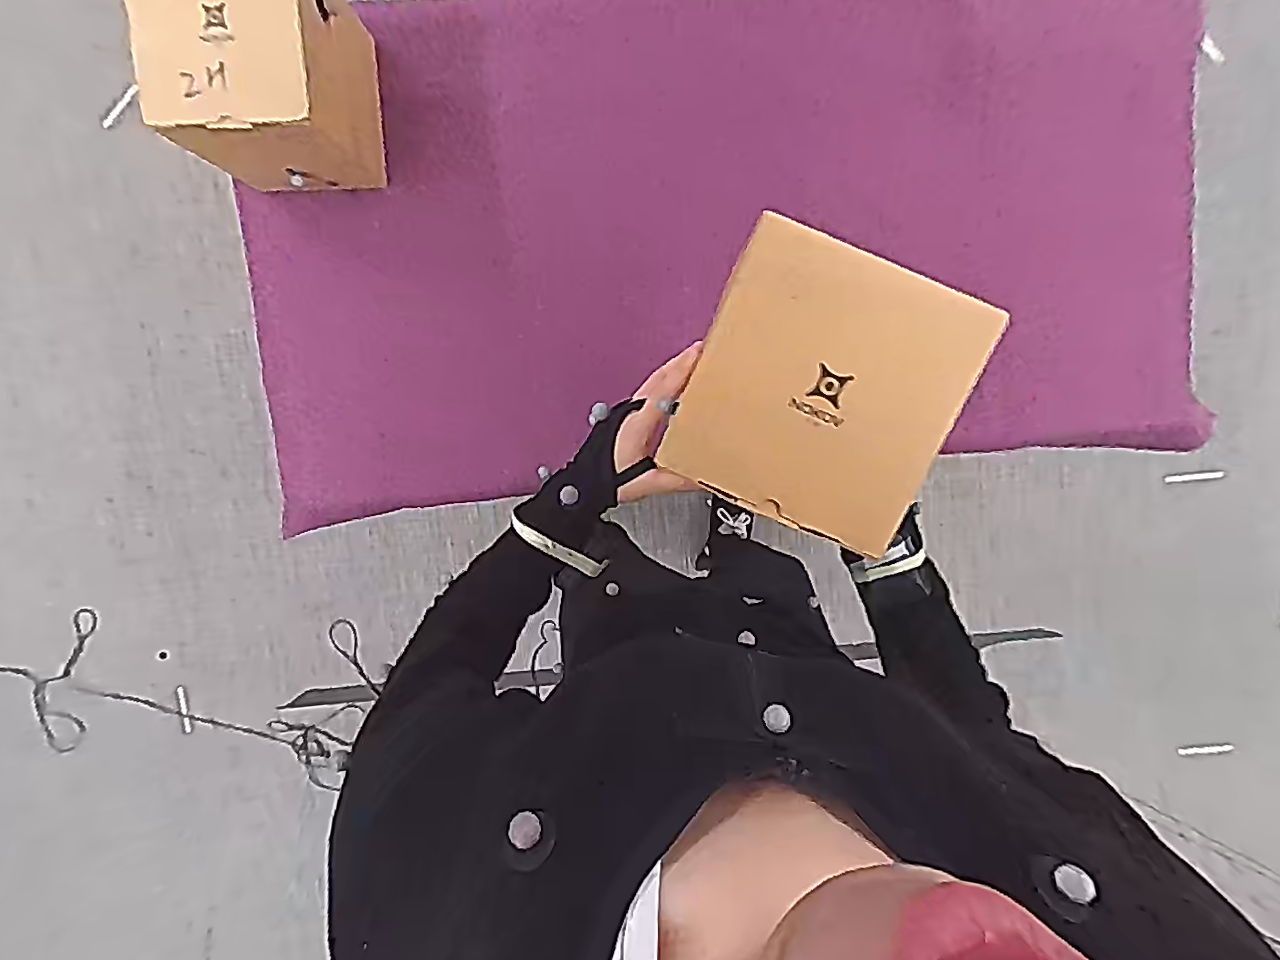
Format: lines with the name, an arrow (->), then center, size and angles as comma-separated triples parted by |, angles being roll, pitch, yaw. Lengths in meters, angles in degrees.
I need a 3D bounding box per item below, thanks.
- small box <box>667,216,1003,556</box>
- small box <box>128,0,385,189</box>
small box -> 0.127, -0.069, 0.430 | 0.168, 0.176, 0.179 | 23, 100, 0
small box -> -0.405, -0.447, 0.597 | 0.168, 0.176, 0.179 | -2, 99, 0
